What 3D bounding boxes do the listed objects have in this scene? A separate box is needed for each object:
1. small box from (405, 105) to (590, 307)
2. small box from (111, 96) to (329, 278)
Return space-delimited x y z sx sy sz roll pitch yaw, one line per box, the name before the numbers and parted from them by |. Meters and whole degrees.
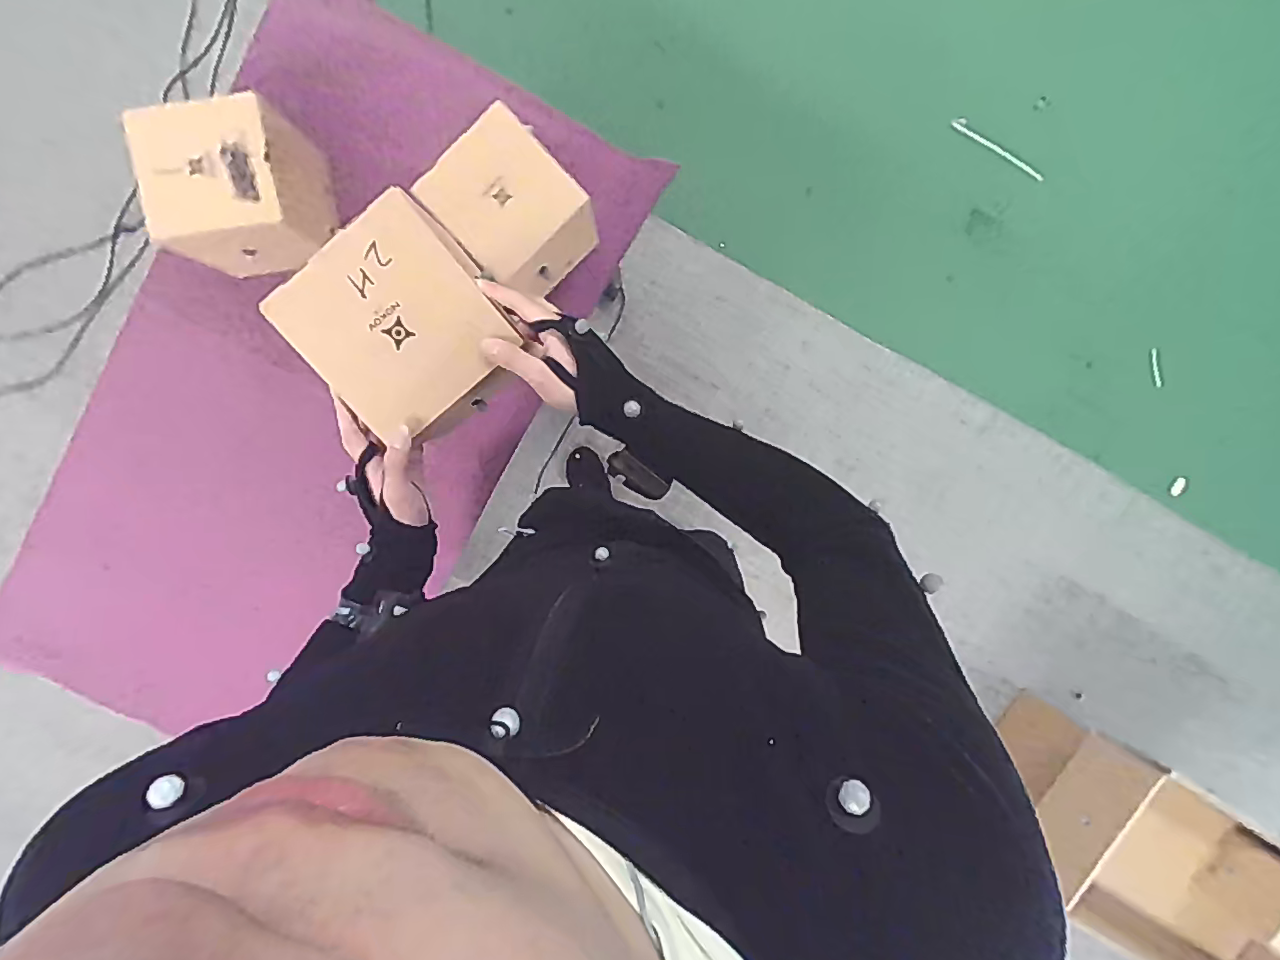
small box | -0.191 -0.375 0.784 0.168 0.176 0.179 -44 92 3
small box | -0.573 -0.403 0.770 0.179 0.176 0.168 -9 95 -1
